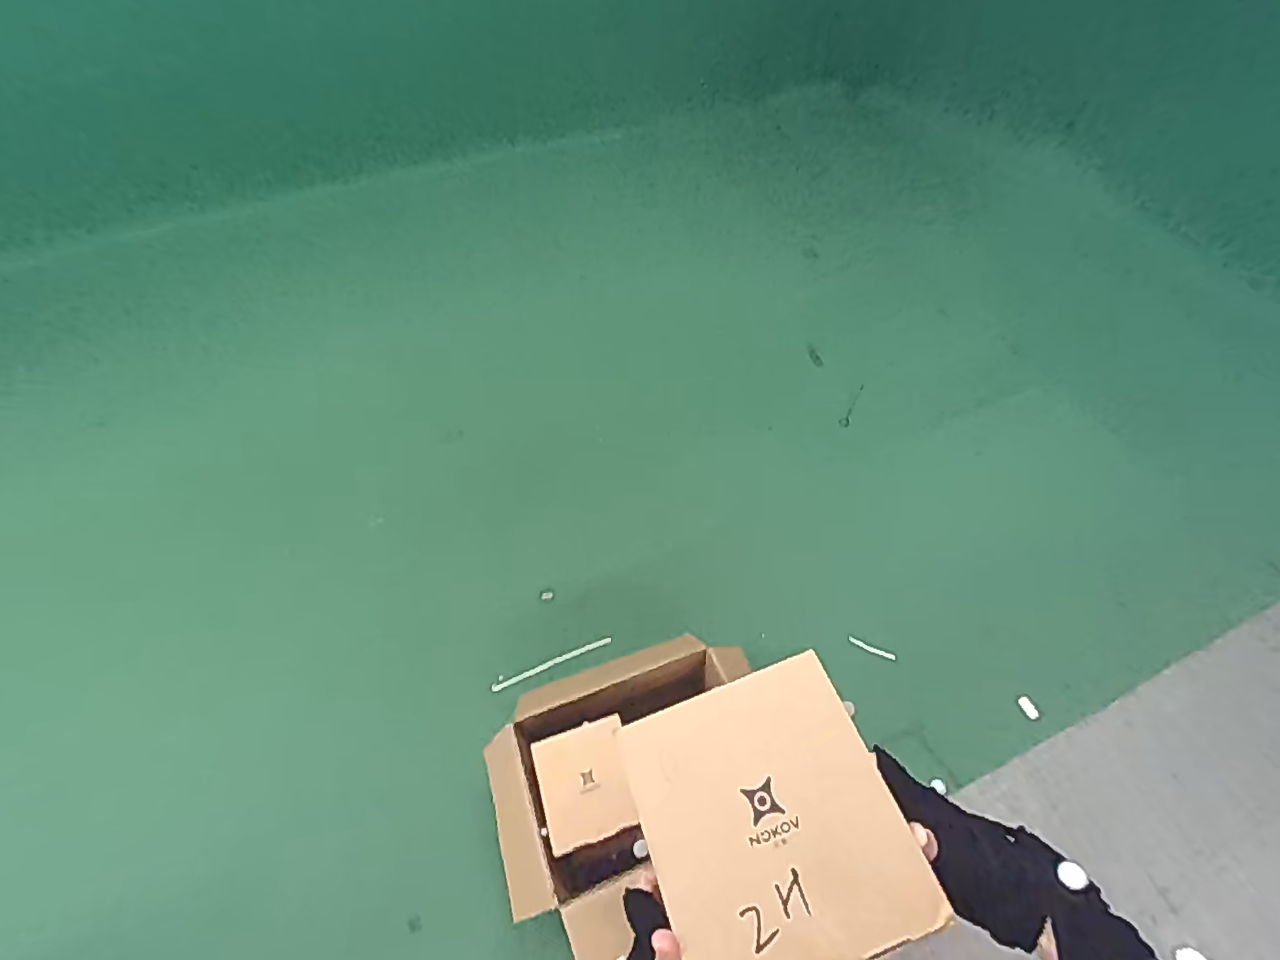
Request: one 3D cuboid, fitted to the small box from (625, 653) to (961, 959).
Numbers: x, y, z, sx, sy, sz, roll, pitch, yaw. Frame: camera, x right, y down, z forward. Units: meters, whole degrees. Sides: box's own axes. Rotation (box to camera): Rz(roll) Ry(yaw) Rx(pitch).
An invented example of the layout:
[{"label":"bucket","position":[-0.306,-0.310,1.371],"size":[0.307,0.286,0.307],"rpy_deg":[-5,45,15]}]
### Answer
[{"label":"small box","position":[0.098,0.266,0.427],"size":[0.168,0.176,0.179],"rpy_deg":[-20,57,-3]}]
